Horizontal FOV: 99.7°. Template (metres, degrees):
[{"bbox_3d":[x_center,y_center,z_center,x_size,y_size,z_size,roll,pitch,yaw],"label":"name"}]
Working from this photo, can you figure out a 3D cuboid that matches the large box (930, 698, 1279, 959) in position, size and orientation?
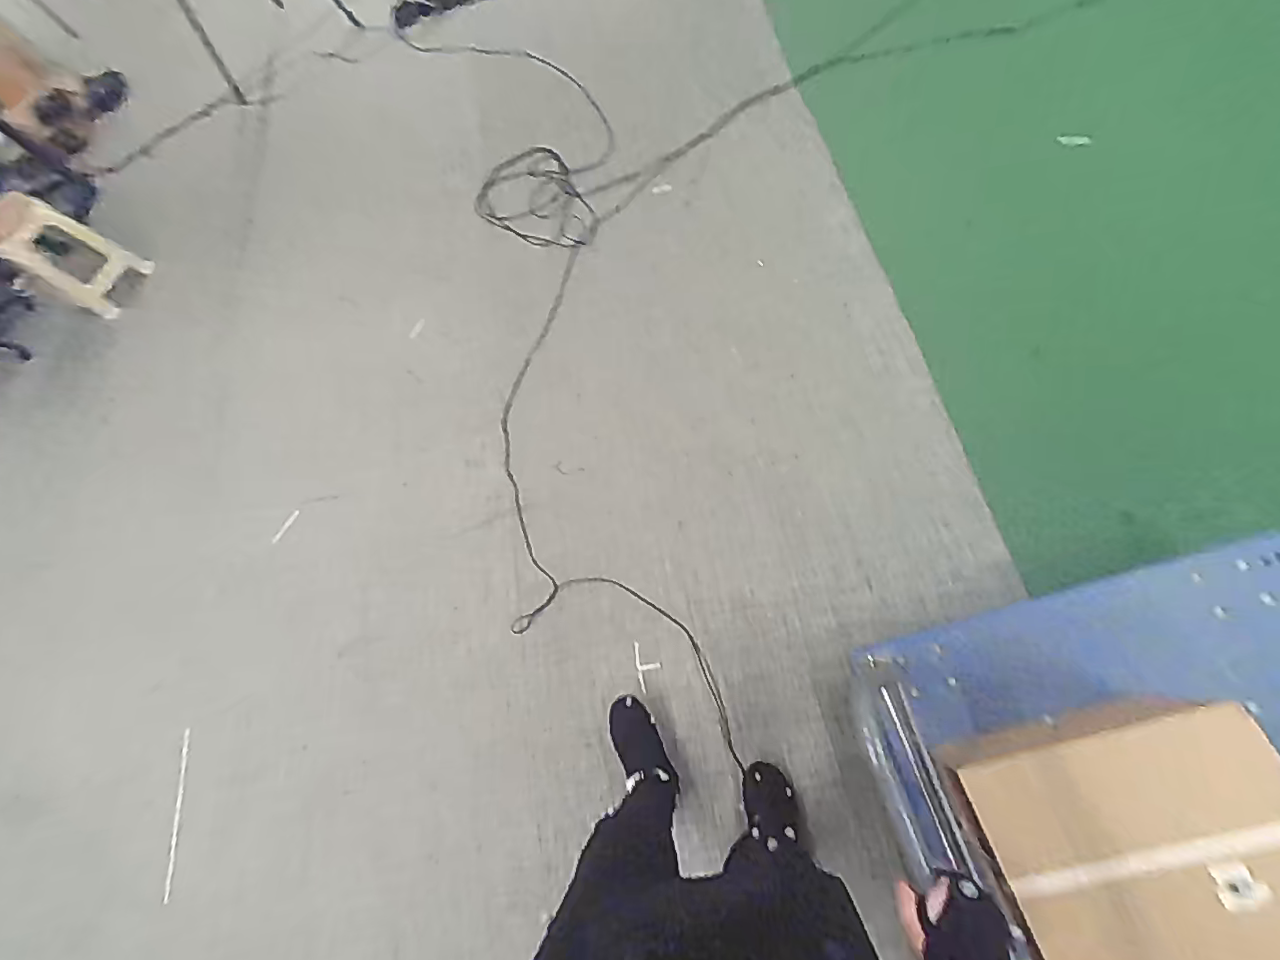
[{"bbox_3d":[0.777,0.579,0.902,0.408,0.320,0.320,-22,66,11],"label":"large box"}]
